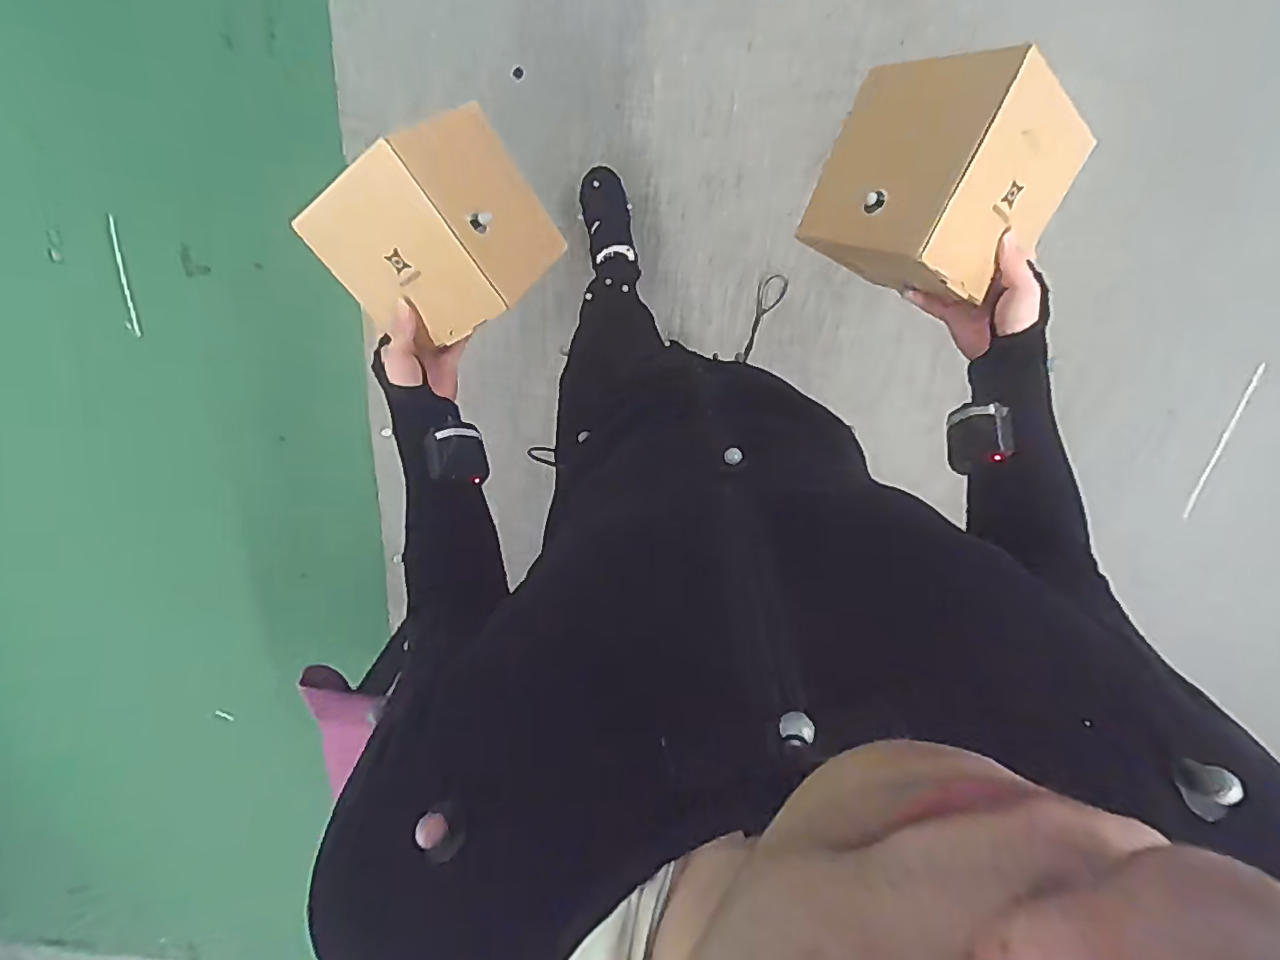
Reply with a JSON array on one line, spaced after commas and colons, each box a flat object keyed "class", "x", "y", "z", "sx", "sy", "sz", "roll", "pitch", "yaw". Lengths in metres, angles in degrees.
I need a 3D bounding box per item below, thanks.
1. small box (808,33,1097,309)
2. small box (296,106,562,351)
[{"class": "small box", "x": 0.305, "y": -0.304, "z": 0.560, "sx": 0.168, "sy": 0.176, "sz": 0.179, "roll": 10, "pitch": 112, "yaw": -35}, {"class": "small box", "x": -0.219, "y": -0.281, "z": 0.601, "sx": 0.168, "sy": 0.176, "sz": 0.179, "roll": -14, "pitch": 126, "yaw": 33}]
